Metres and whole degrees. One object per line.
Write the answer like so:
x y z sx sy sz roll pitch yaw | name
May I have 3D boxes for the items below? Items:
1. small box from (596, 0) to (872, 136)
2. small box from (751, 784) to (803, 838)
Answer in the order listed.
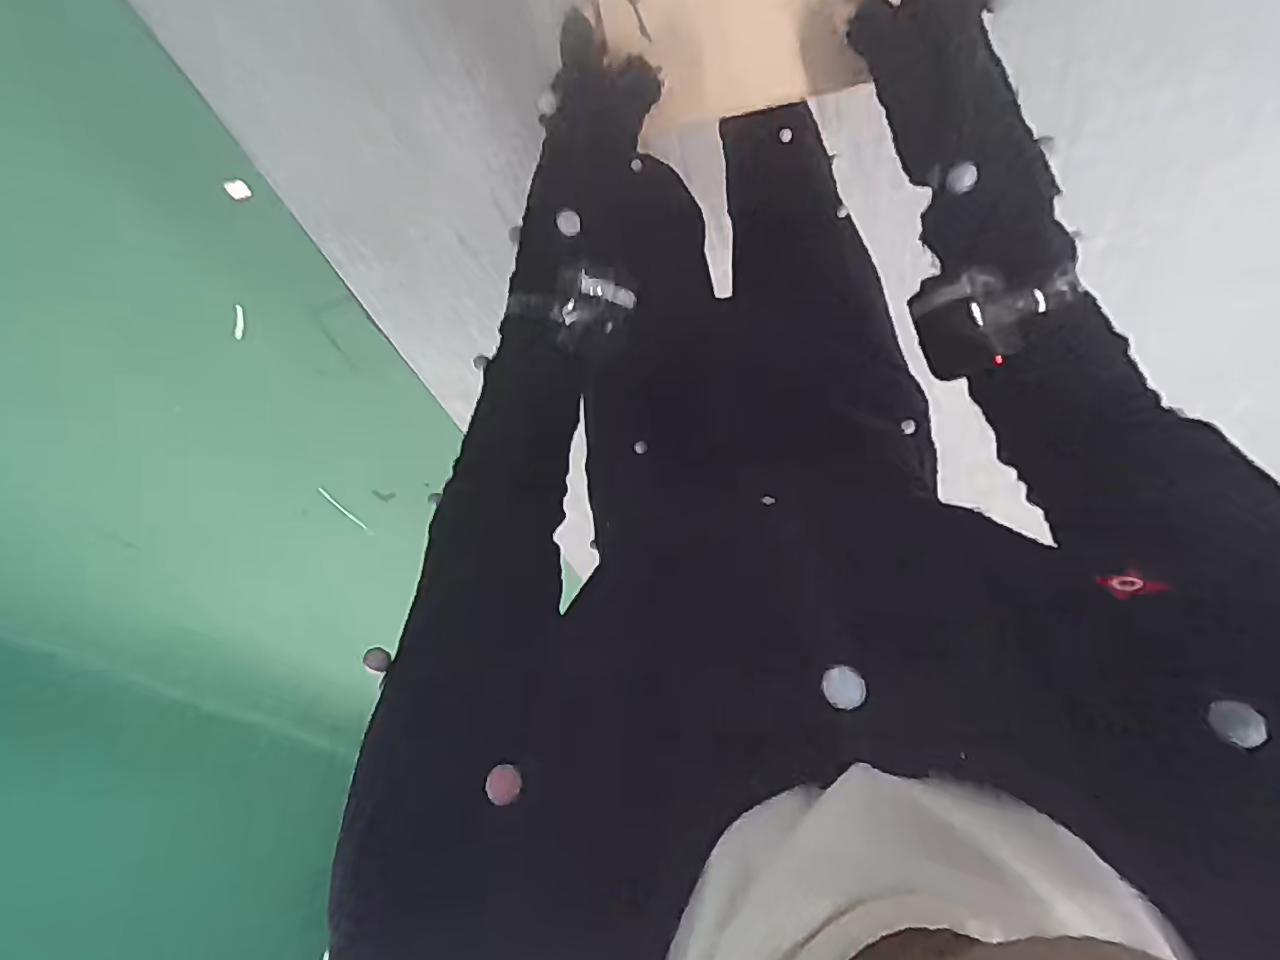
0.064 -0.383 0.392 0.179 0.176 0.168 -5 134 16 | small box
0.556 1.352 2.207 0.179 0.176 0.168 -12 141 15 | small box
